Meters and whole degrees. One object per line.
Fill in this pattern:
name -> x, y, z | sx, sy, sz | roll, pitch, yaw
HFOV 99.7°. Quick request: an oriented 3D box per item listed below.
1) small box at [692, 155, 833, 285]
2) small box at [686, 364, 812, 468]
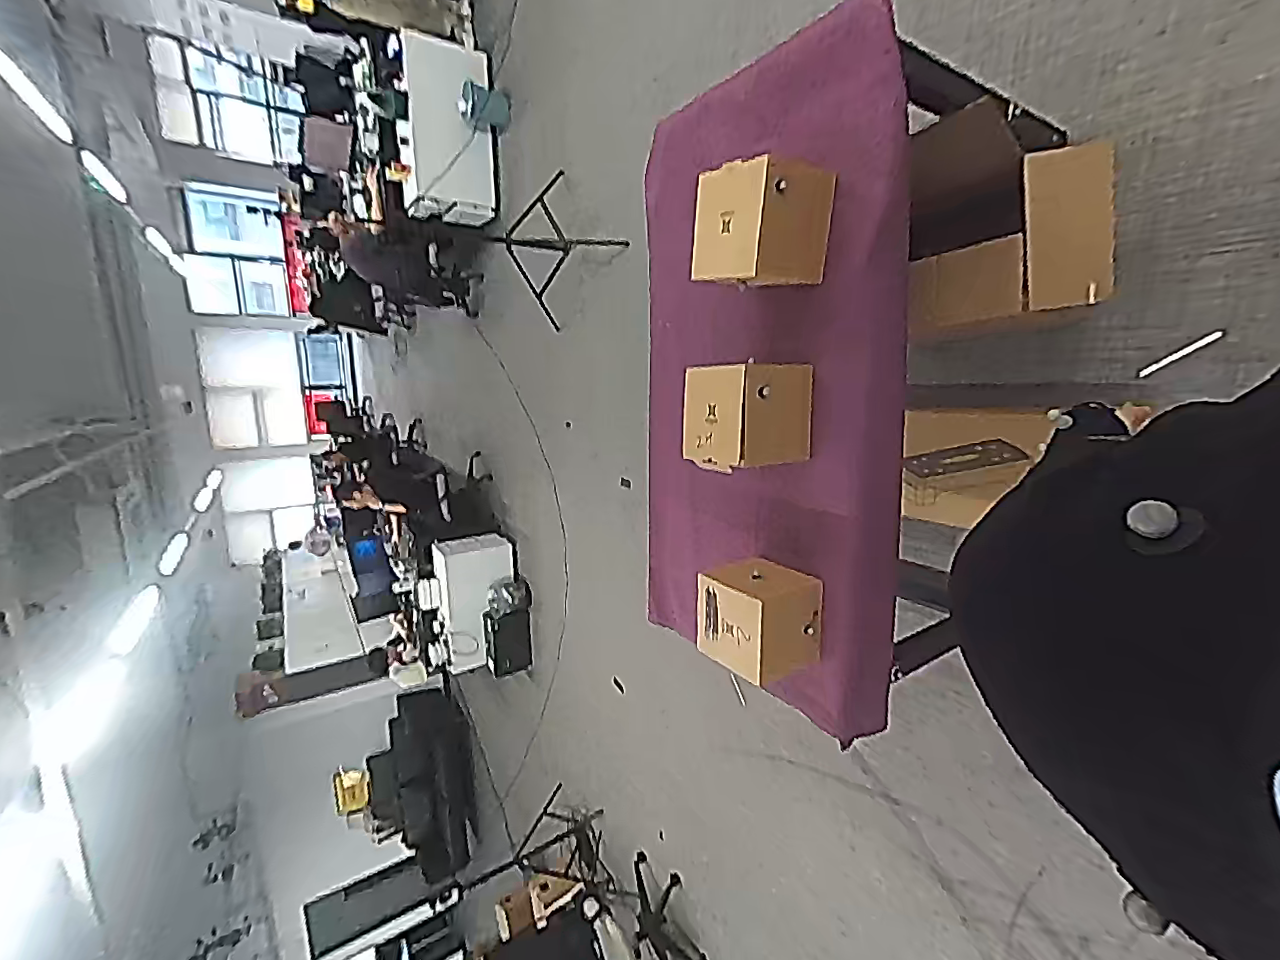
small box -> 0.209, -0.434, 0.936 | 0.168, 0.176, 0.179 | 25, 117, 53
small box -> 0.203, -0.124, 1.010 | 0.168, 0.176, 0.179 | 15, 109, 58
